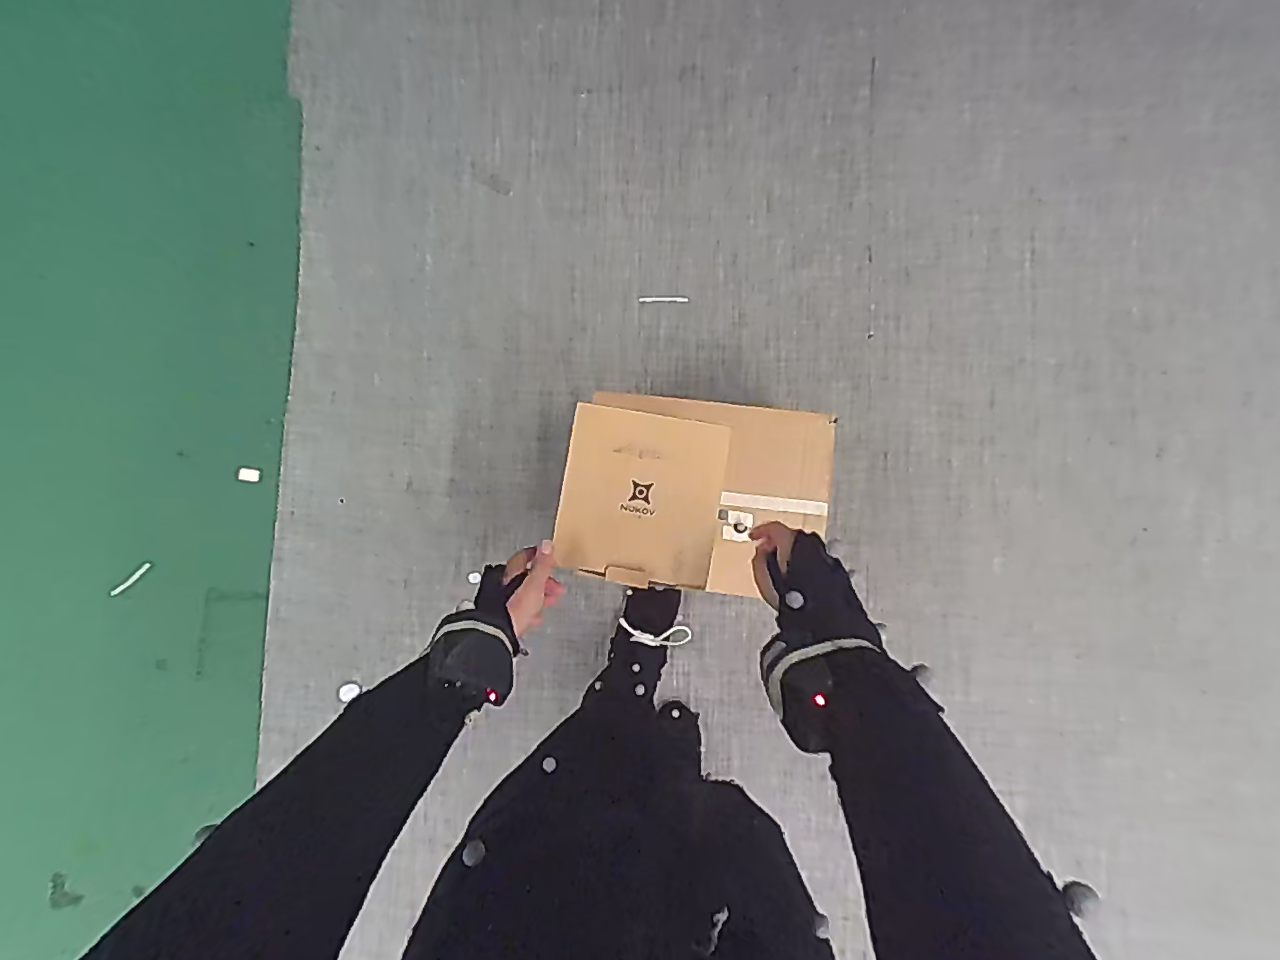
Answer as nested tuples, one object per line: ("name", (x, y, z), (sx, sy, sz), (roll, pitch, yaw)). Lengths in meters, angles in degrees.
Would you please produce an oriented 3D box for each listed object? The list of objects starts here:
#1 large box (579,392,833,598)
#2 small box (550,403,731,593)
("large box", (0.111, 0.030, 1.035), (0.408, 0.320, 0.320), (6, 88, 3))
("small box", (0.003, 0.022, 0.634), (0.168, 0.176, 0.179), (9, 87, 2))
